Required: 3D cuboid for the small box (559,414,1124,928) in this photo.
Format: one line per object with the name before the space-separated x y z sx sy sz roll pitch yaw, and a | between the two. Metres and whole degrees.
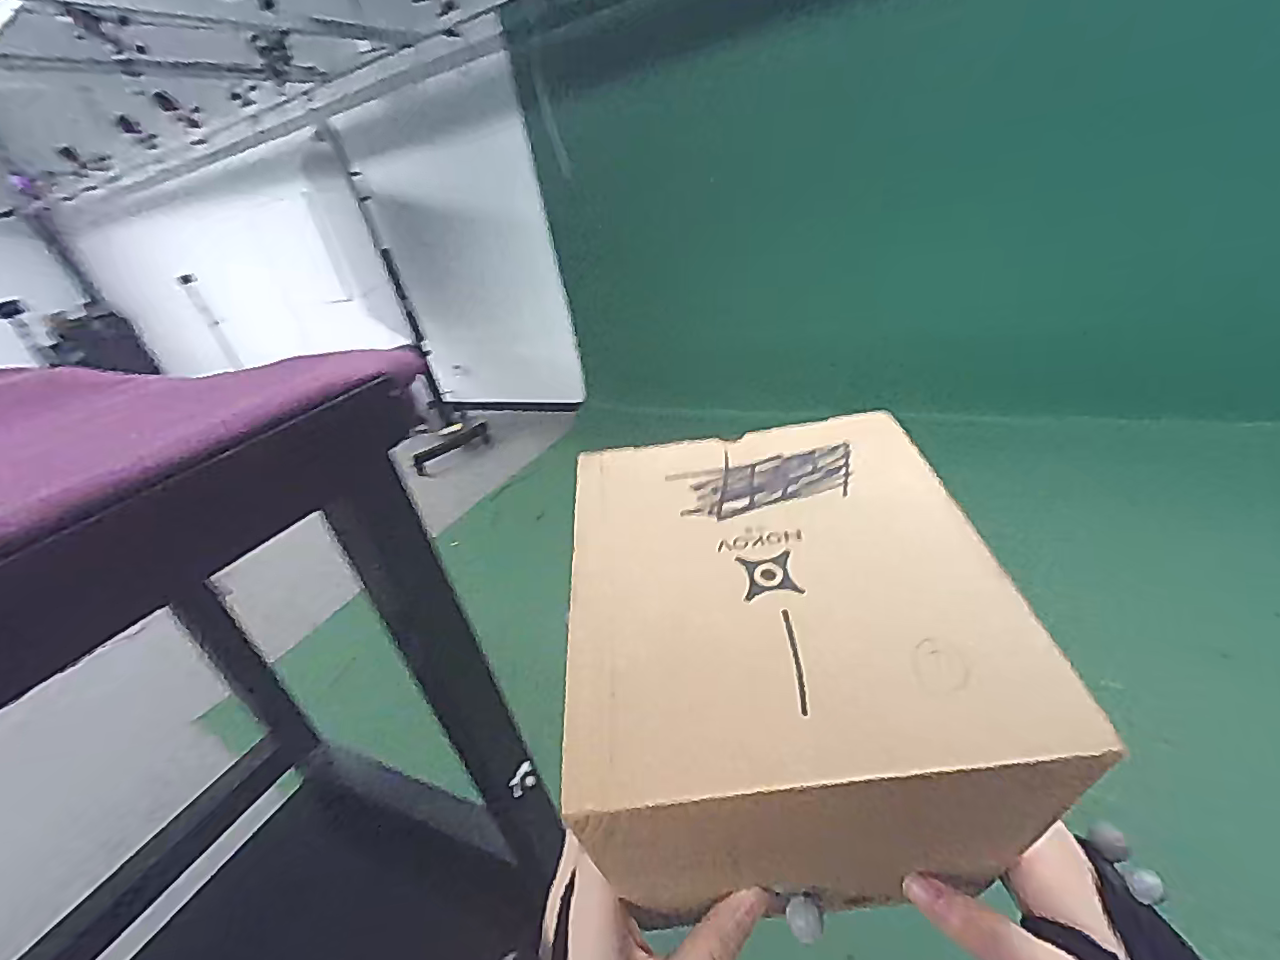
small box | 0.067 0.092 0.272 0.168 0.176 0.179 -9 41 5
